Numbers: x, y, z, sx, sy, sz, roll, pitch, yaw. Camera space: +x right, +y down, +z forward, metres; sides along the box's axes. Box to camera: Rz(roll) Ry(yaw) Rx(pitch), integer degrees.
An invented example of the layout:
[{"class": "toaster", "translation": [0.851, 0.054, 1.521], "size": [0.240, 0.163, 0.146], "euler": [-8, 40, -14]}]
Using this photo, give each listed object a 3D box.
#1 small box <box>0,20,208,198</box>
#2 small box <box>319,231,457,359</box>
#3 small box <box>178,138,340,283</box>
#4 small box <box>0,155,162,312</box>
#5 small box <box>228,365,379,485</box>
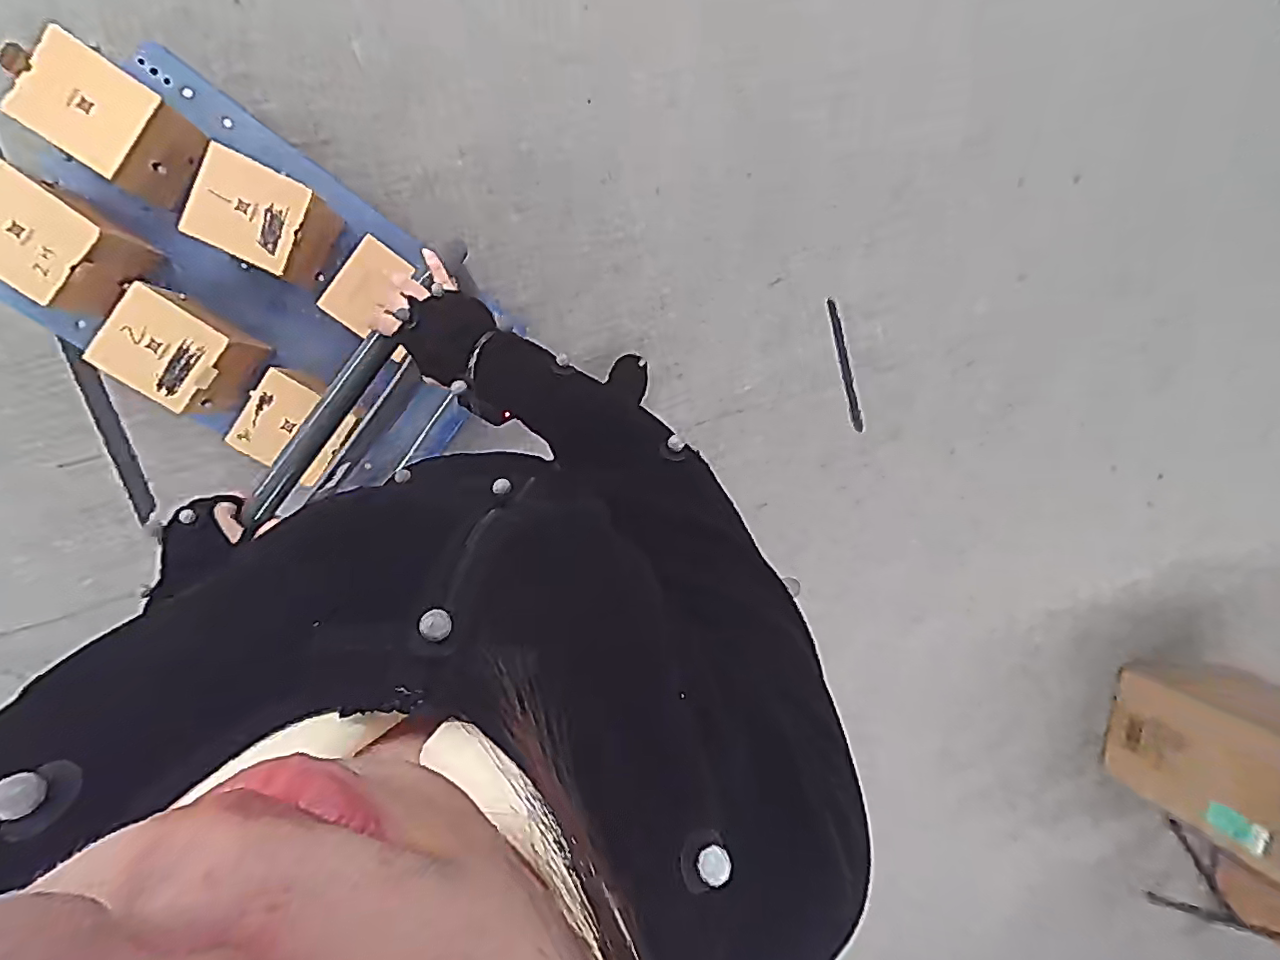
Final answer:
[{"class": "small box", "translation": [-0.928, -0.632, 0.957], "size": [0.179, 0.176, 0.168], "euler": [32, 92, -15]}, {"class": "small box", "translation": [-0.492, -0.359, 1.090], "size": [0.179, 0.176, 0.168], "euler": [36, 90, -14]}, {"class": "small box", "translation": [-0.703, -0.492, 1.024], "size": [0.179, 0.176, 0.168], "euler": [23, 93, -14]}, {"class": "small box", "translation": [-1.034, -0.422, 0.966], "size": [0.179, 0.176, 0.168], "euler": [37, 90, -15]}, {"class": "small box", "translation": [-0.661, -0.114, 1.091], "size": [0.179, 0.176, 0.168], "euler": [32, 90, -15]}]
